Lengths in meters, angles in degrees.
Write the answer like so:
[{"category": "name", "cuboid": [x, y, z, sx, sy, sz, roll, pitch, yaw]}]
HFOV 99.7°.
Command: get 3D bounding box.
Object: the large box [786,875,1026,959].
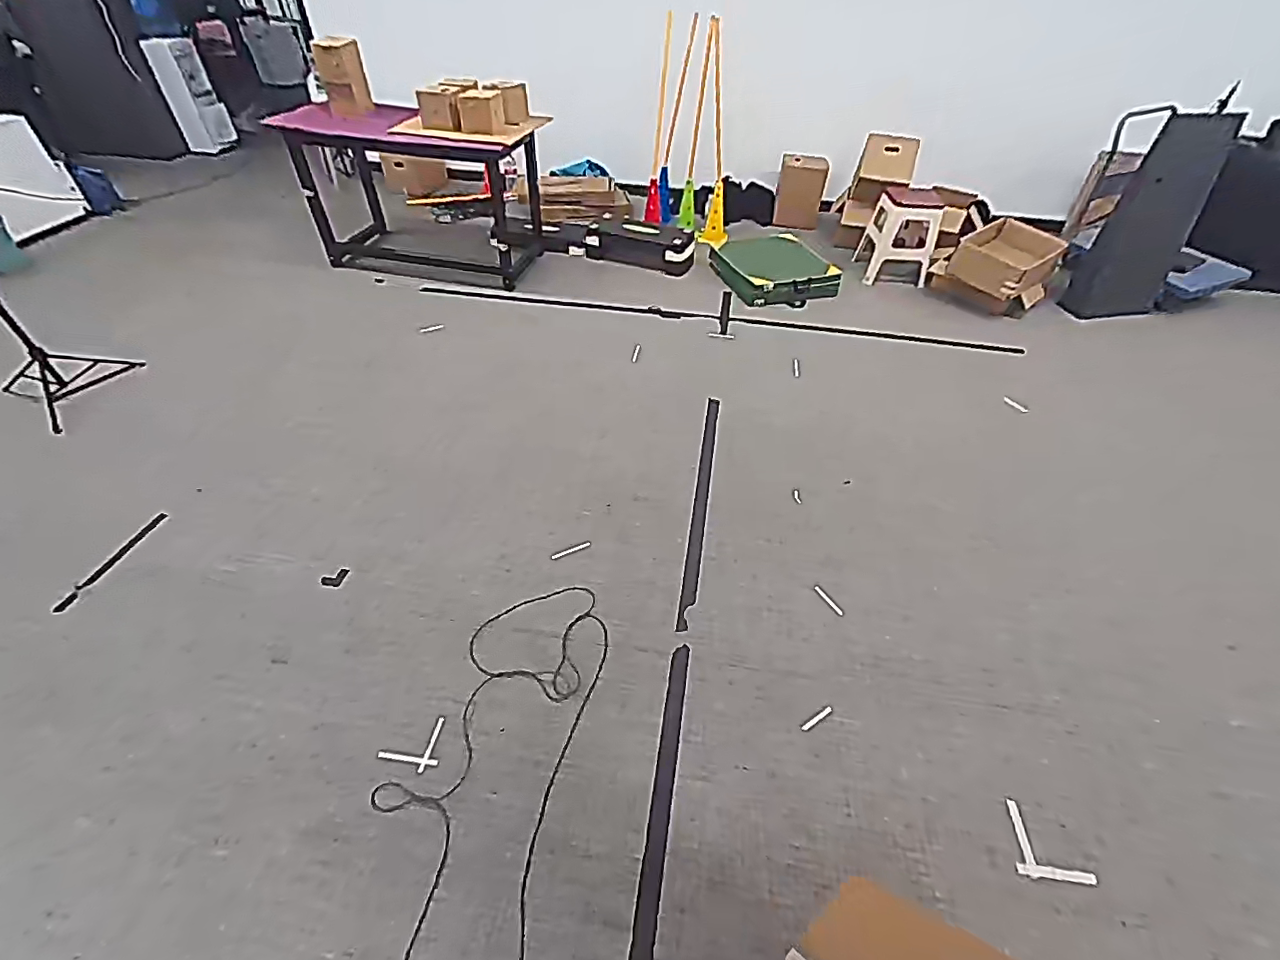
[{"category": "large box", "cuboid": [0.372, 0.763, 0.615, 0.320, 0.408, 0.320, -34, 81, -22]}]
